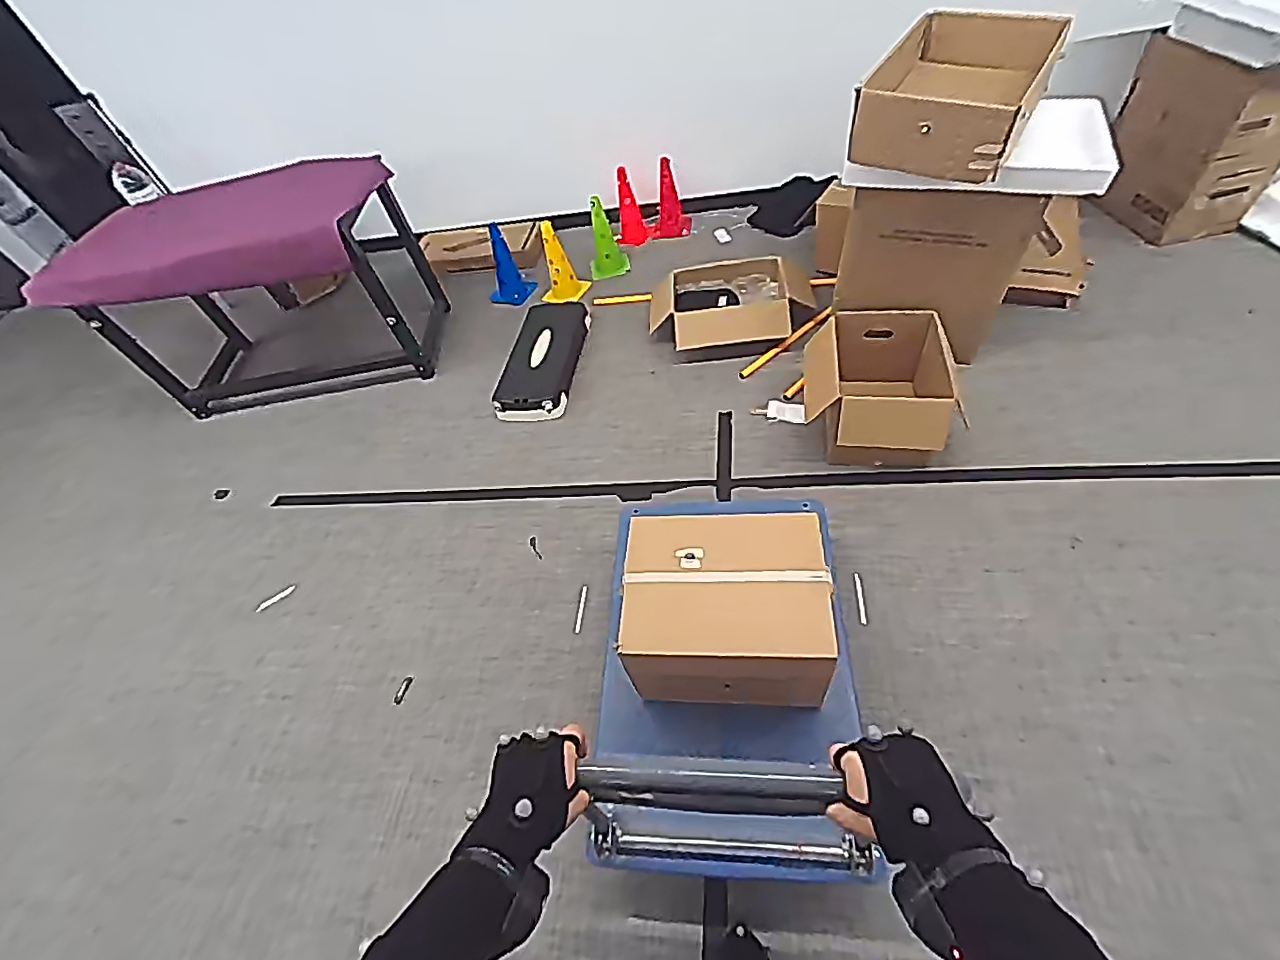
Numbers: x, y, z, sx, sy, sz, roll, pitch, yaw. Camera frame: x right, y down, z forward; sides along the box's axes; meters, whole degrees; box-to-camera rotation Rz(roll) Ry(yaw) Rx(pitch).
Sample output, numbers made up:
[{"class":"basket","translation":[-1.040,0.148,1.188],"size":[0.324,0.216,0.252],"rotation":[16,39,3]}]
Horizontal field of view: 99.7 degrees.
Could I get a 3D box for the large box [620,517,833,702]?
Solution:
[{"class":"large box","translation":[0.192,0.303,1.219],"size":[0.408,0.320,0.320],"rotation":[-3,51,10]}]
